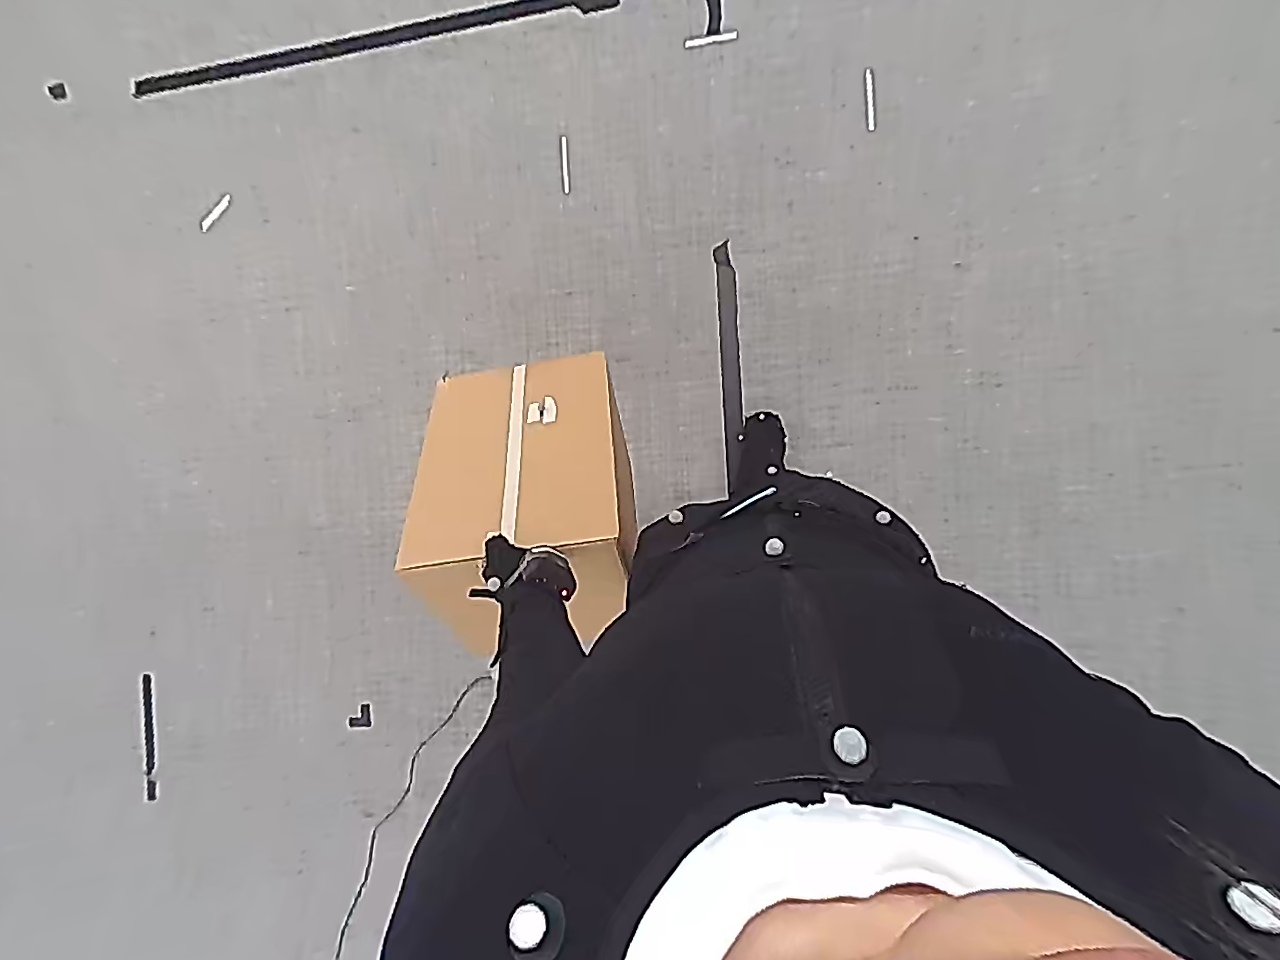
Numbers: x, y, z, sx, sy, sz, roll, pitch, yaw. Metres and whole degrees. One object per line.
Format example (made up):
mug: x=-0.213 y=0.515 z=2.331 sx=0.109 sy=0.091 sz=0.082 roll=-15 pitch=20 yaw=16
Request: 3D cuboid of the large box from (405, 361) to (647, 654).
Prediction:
large box: x=-0.177 y=0.050 z=0.986 sx=0.320 sy=0.320 sz=0.408 roll=-9 pitch=49 yaw=3
